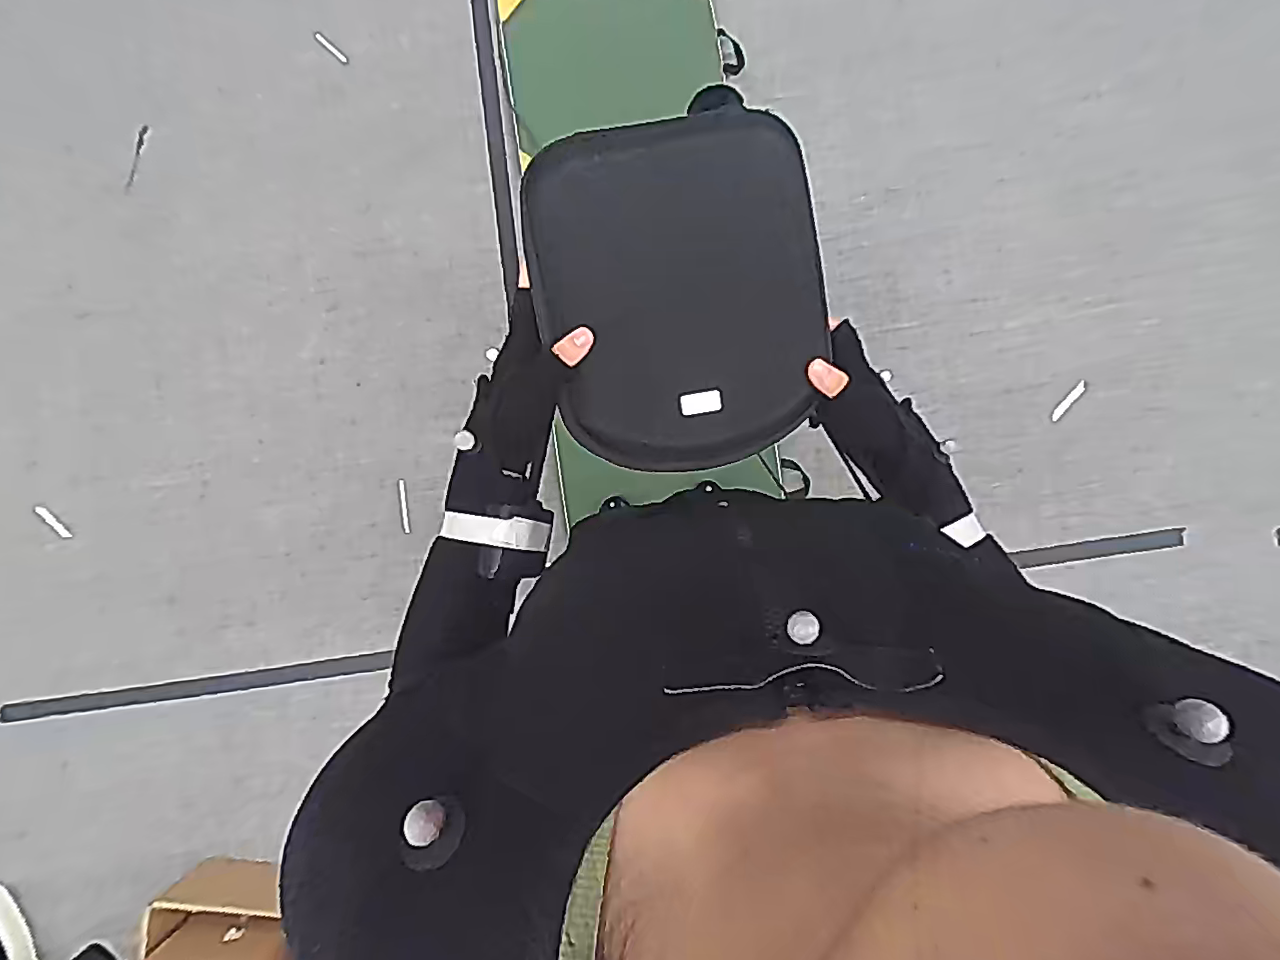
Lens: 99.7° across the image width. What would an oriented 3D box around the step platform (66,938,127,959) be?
[{"bbox_3d":[-1.674,1.566,1.409,0.684,0.204,0.286,-37,88,-1],"label":"step platform"}]
